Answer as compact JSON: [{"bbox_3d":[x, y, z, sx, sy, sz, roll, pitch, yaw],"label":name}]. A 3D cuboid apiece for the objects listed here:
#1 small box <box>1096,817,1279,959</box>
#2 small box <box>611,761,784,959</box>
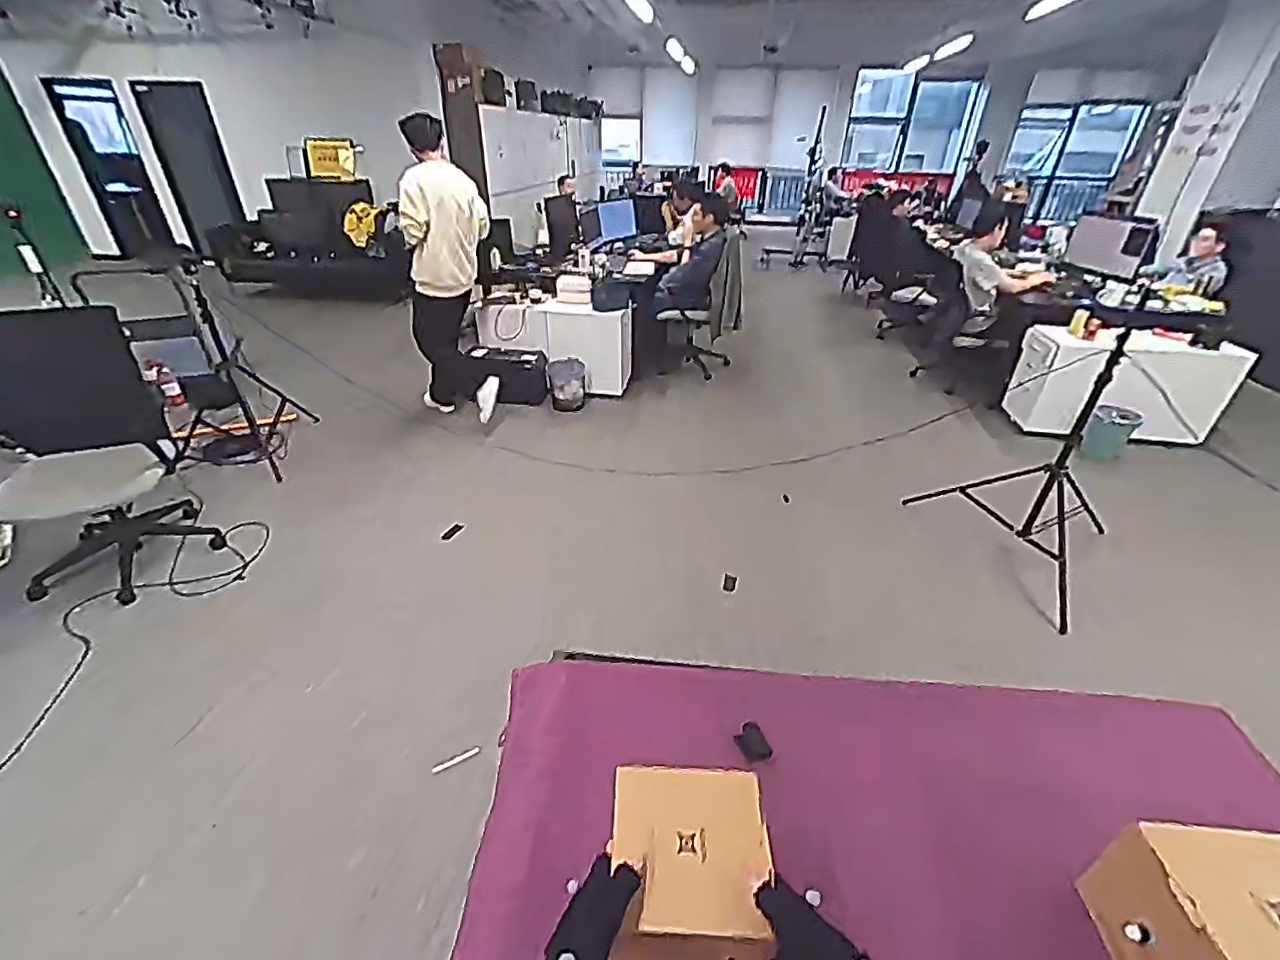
[{"bbox_3d":[0.668,0.516,0.610,0.179,0.176,0.168,3,32,5],"label":"small box"},{"bbox_3d":[0.058,0.463,0.647,0.179,0.176,0.168,1,34,1],"label":"small box"}]
